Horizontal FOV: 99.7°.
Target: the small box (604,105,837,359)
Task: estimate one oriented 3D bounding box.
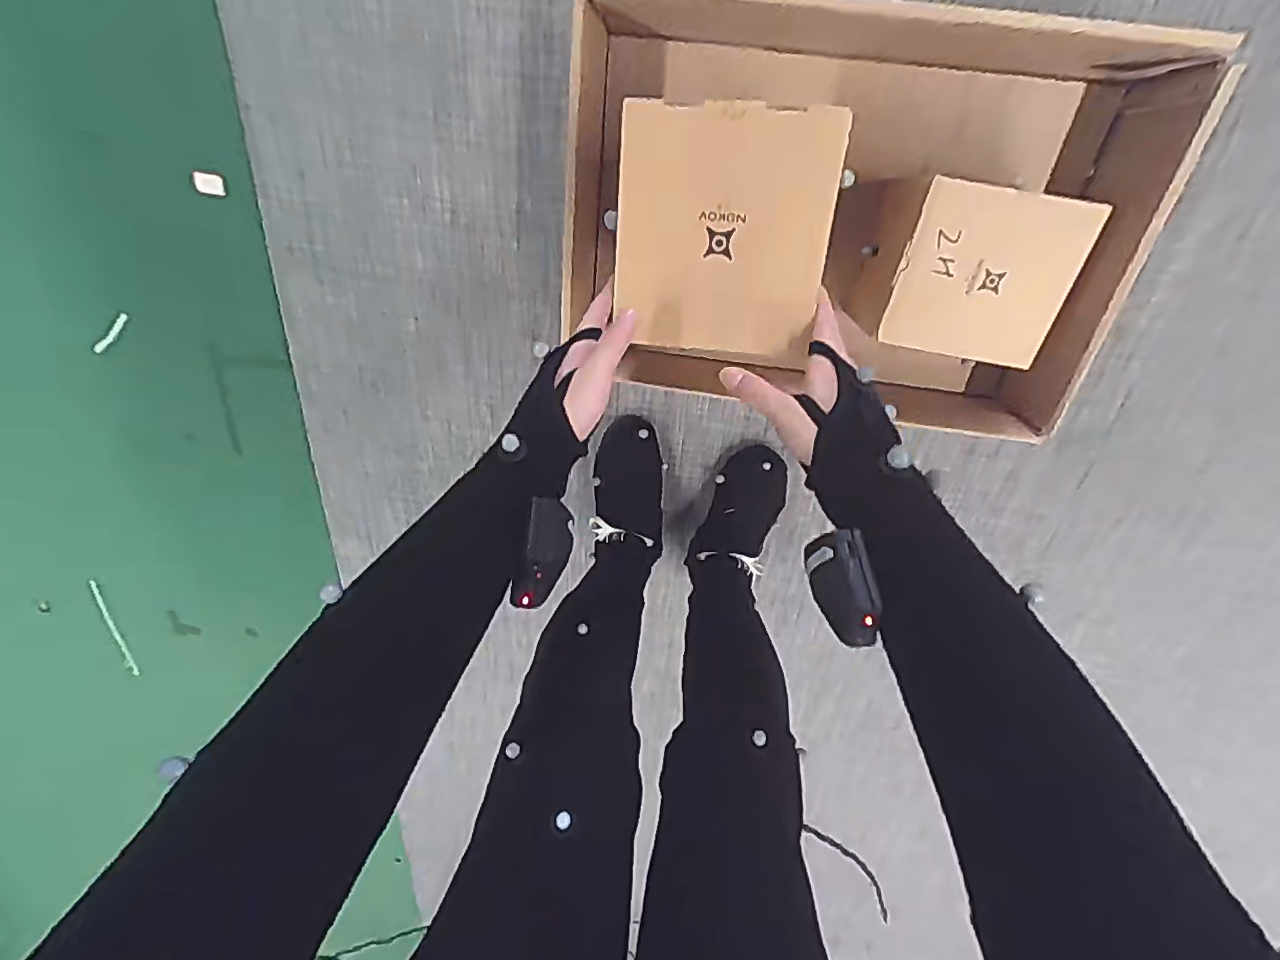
[{"bbox_3d":[0.067,-0.216,0.495,0.168,0.176,0.179,6,110,6],"label":"small box"}]

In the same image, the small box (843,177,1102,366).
[{"bbox_3d":[0.362,-0.248,0.633,0.179,0.176,0.168,11,118,3],"label":"small box"}]
